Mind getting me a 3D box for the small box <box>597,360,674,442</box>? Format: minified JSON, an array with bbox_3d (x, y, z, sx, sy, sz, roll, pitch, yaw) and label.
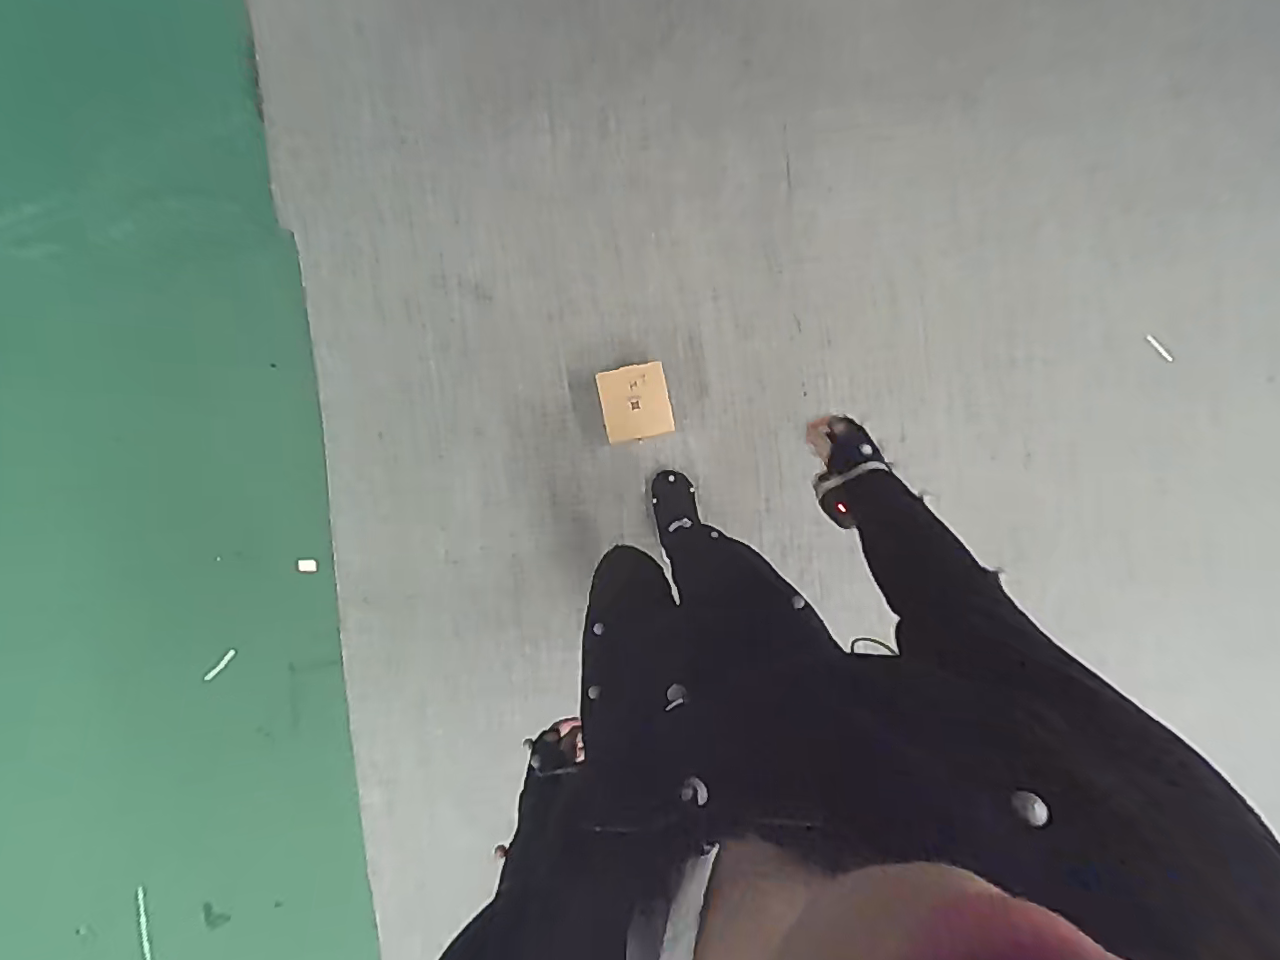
[{"bbox_3d":[-0.009,-0.196,1.382,0.168,0.176,0.179,-11,93,0],"label":"small box"}]
